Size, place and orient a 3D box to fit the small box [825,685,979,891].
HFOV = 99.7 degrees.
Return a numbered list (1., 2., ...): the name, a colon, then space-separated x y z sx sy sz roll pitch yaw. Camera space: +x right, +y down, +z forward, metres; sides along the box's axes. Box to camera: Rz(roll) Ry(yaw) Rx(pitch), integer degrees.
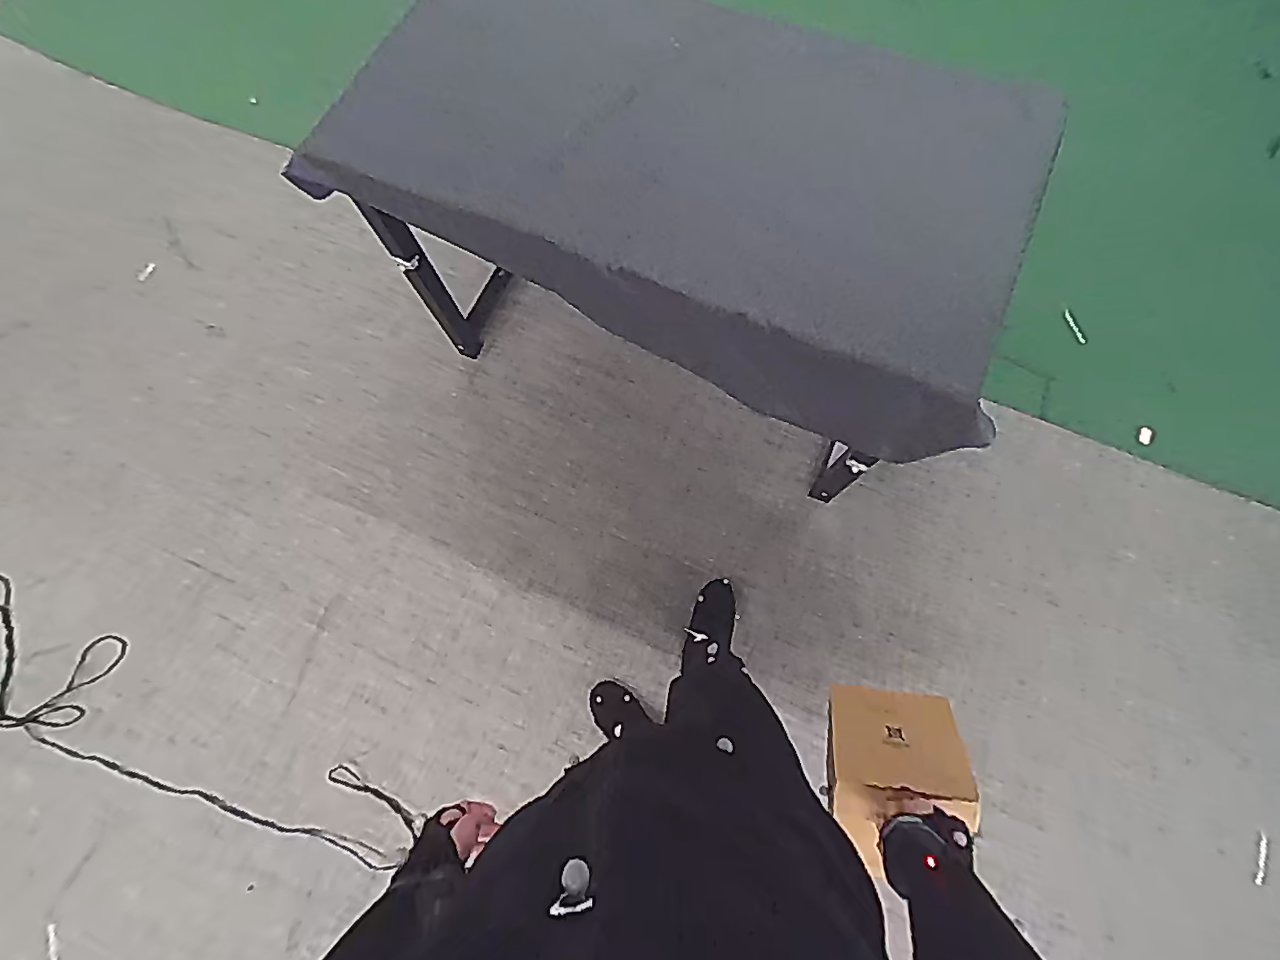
1. small box: 0.348 0.419 0.752 0.168 0.179 0.176 1 111 16
